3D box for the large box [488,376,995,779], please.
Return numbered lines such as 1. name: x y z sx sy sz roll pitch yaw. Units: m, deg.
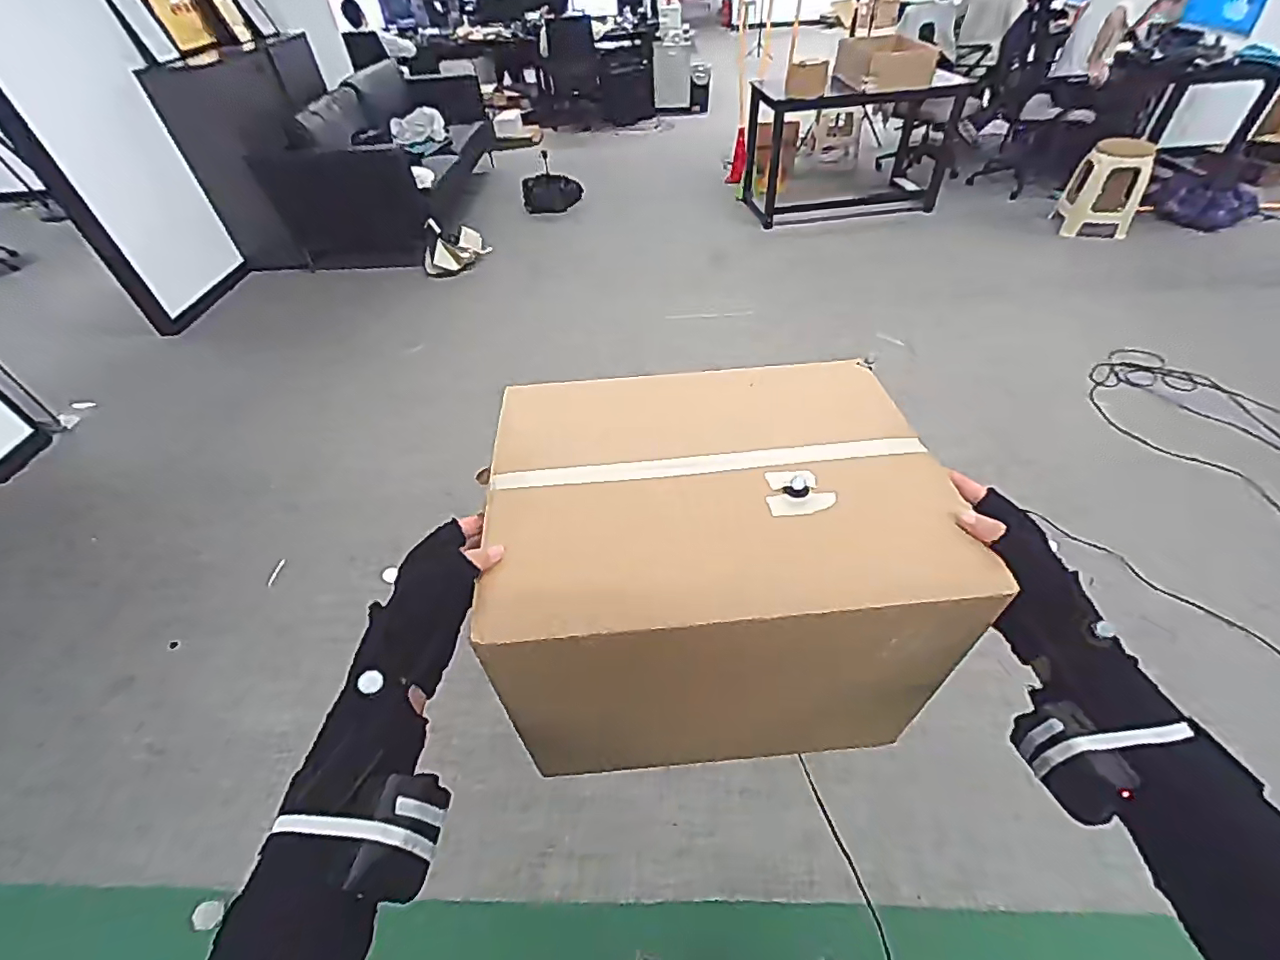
1. large box: 0.069 0.107 0.617 0.408 0.320 0.320 -5 45 -3
